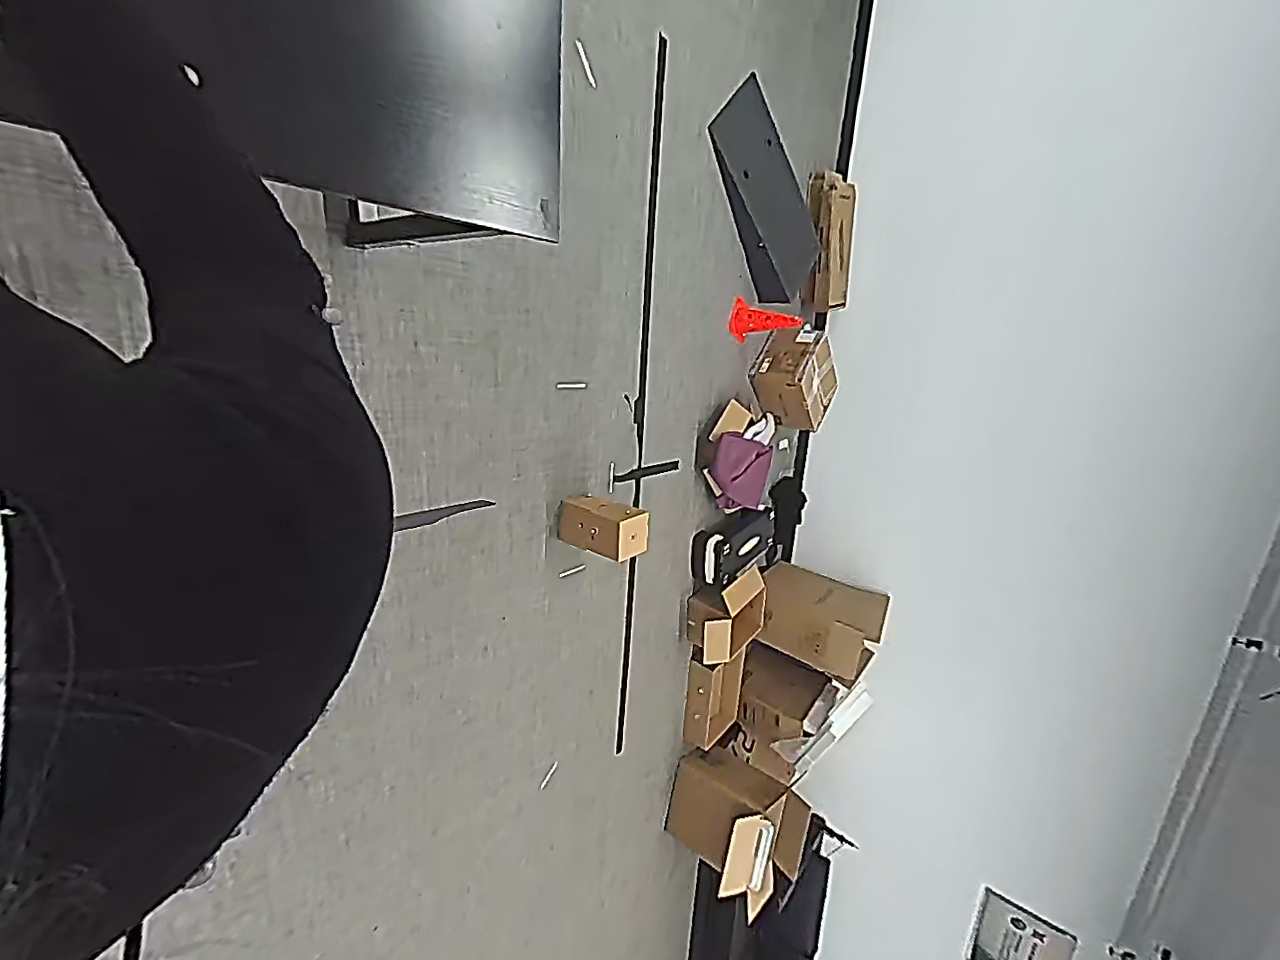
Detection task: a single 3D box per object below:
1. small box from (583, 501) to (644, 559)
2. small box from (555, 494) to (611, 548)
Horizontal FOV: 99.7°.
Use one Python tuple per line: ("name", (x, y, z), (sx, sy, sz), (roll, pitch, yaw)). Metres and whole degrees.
("small box", (-0.105, 0.190, 2.132), (0.179, 0.176, 0.168), (-16, 114, -48))
("small box", (-0.233, 0.160, 2.228), (0.168, 0.176, 0.179), (-10, 112, -51))
